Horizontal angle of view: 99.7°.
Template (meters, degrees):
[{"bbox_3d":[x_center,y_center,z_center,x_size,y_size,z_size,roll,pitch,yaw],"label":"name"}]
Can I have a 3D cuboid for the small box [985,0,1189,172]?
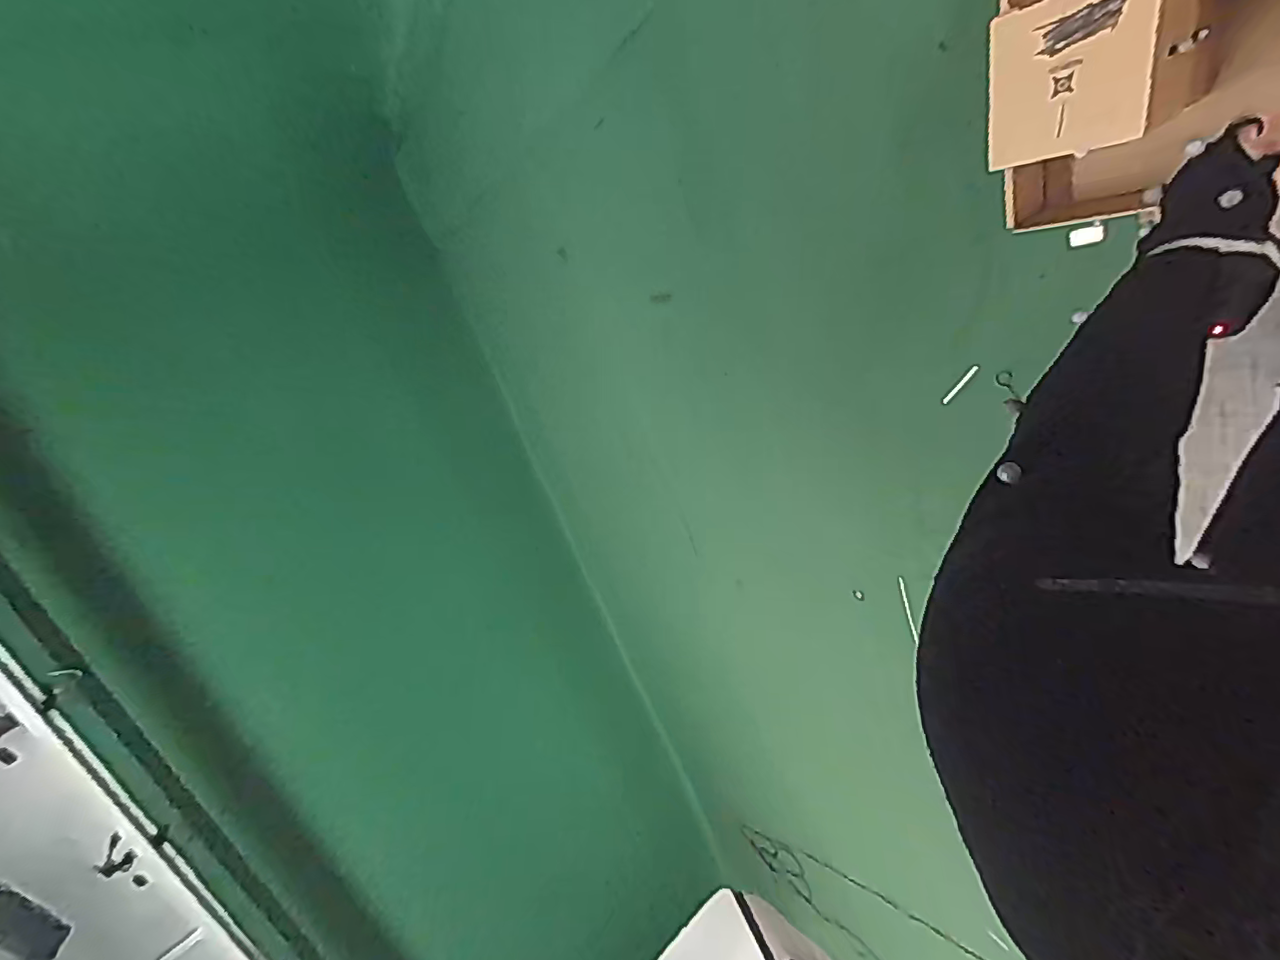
[{"bbox_3d":[0.570,-0.525,0.696,0.168,0.176,0.179,17,132,49],"label":"small box"}]
